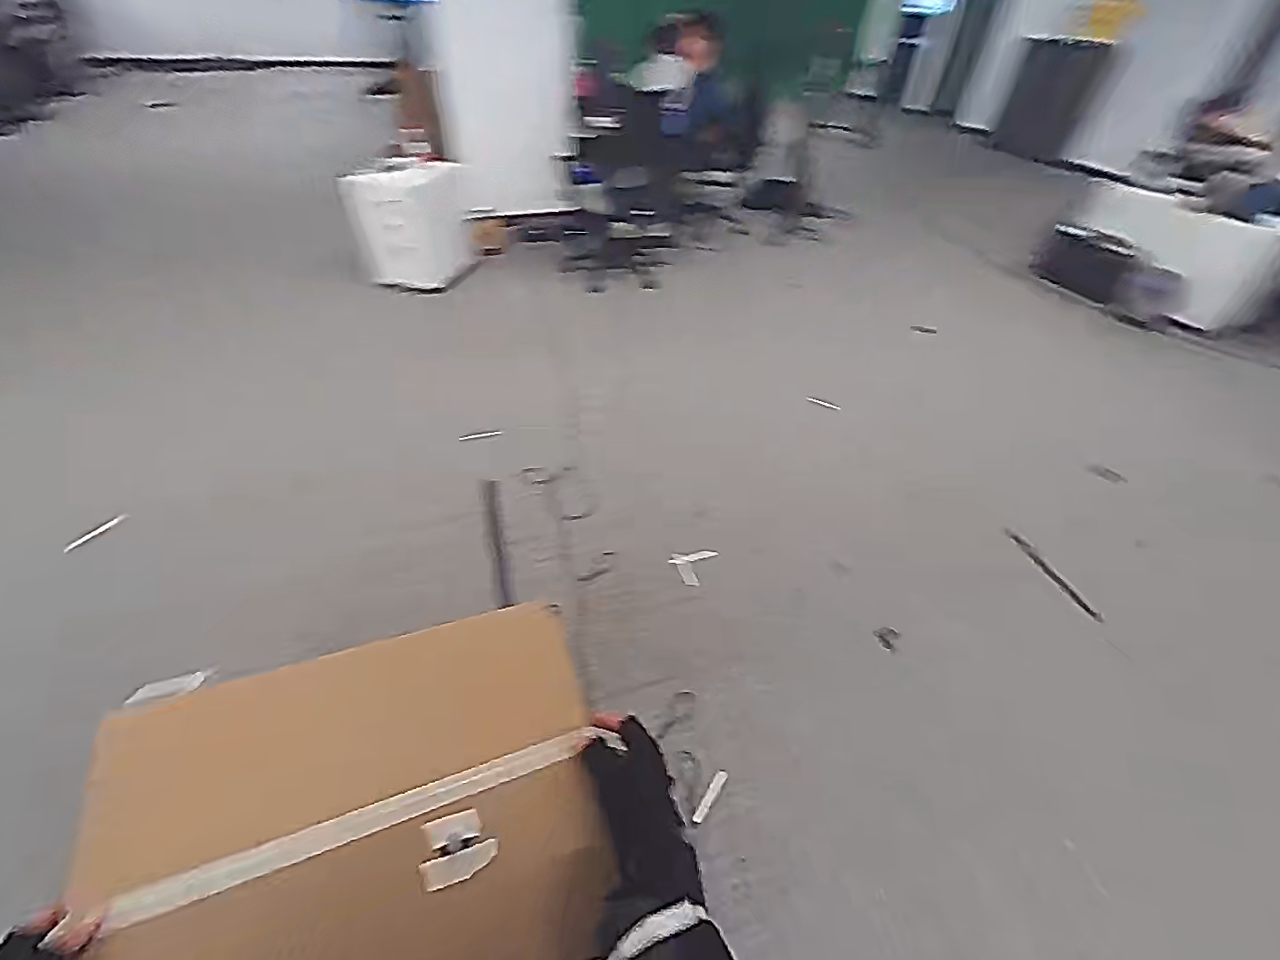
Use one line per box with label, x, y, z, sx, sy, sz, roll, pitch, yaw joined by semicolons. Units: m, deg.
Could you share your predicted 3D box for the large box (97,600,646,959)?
large box;-0.252;0.385;0.596;0.408;0.320;0.320;-11;56;-20
